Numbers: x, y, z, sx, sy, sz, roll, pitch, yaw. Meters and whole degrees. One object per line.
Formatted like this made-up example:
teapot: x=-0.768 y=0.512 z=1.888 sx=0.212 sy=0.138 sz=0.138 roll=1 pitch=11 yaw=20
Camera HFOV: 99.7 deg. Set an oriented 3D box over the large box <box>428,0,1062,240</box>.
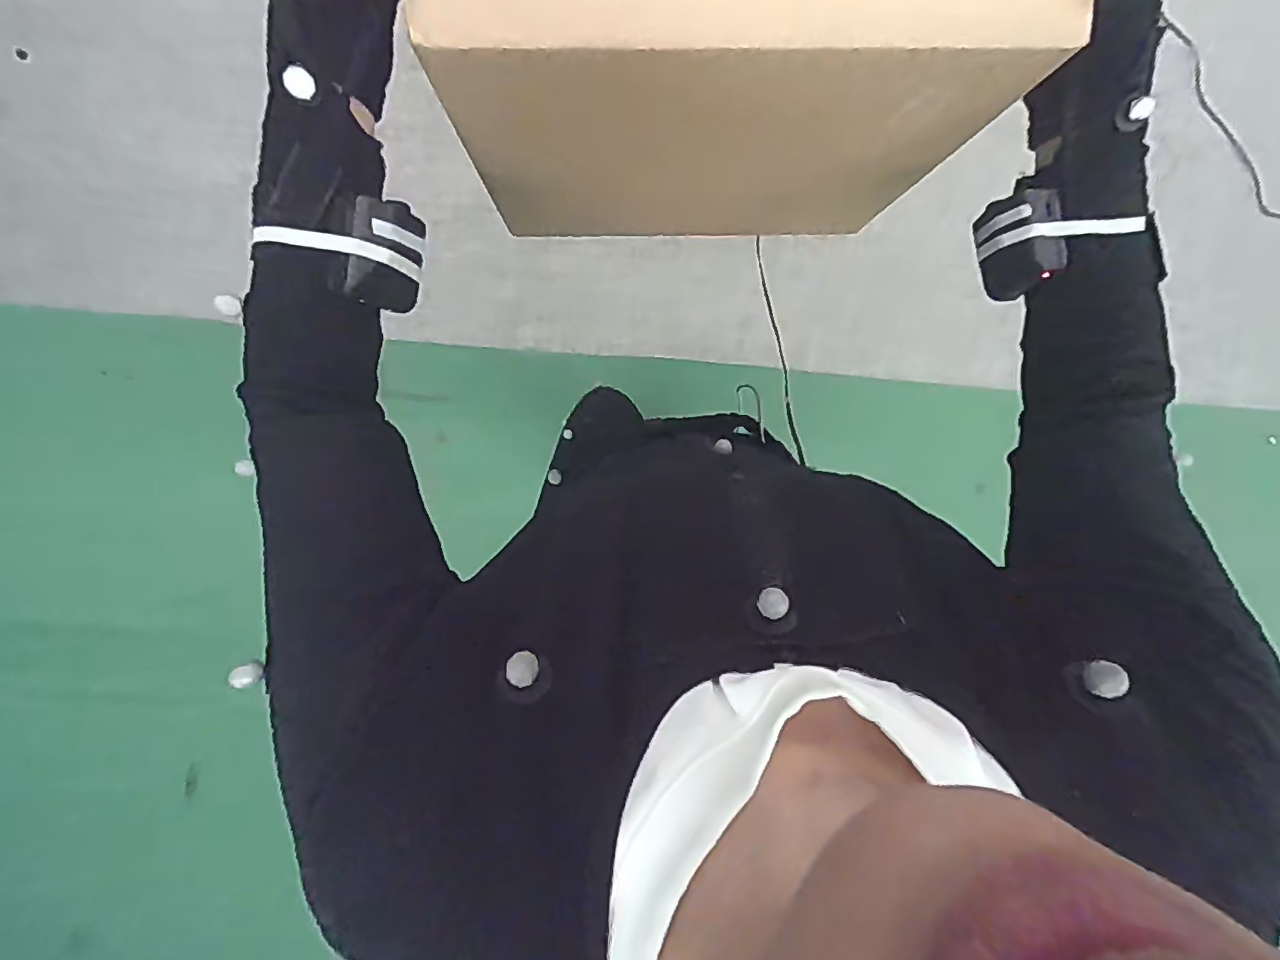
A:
large box: x=0.053 y=-0.424 z=0.469 sx=0.408 sy=0.320 sz=0.320 roll=-3 pitch=95 yaw=-4
